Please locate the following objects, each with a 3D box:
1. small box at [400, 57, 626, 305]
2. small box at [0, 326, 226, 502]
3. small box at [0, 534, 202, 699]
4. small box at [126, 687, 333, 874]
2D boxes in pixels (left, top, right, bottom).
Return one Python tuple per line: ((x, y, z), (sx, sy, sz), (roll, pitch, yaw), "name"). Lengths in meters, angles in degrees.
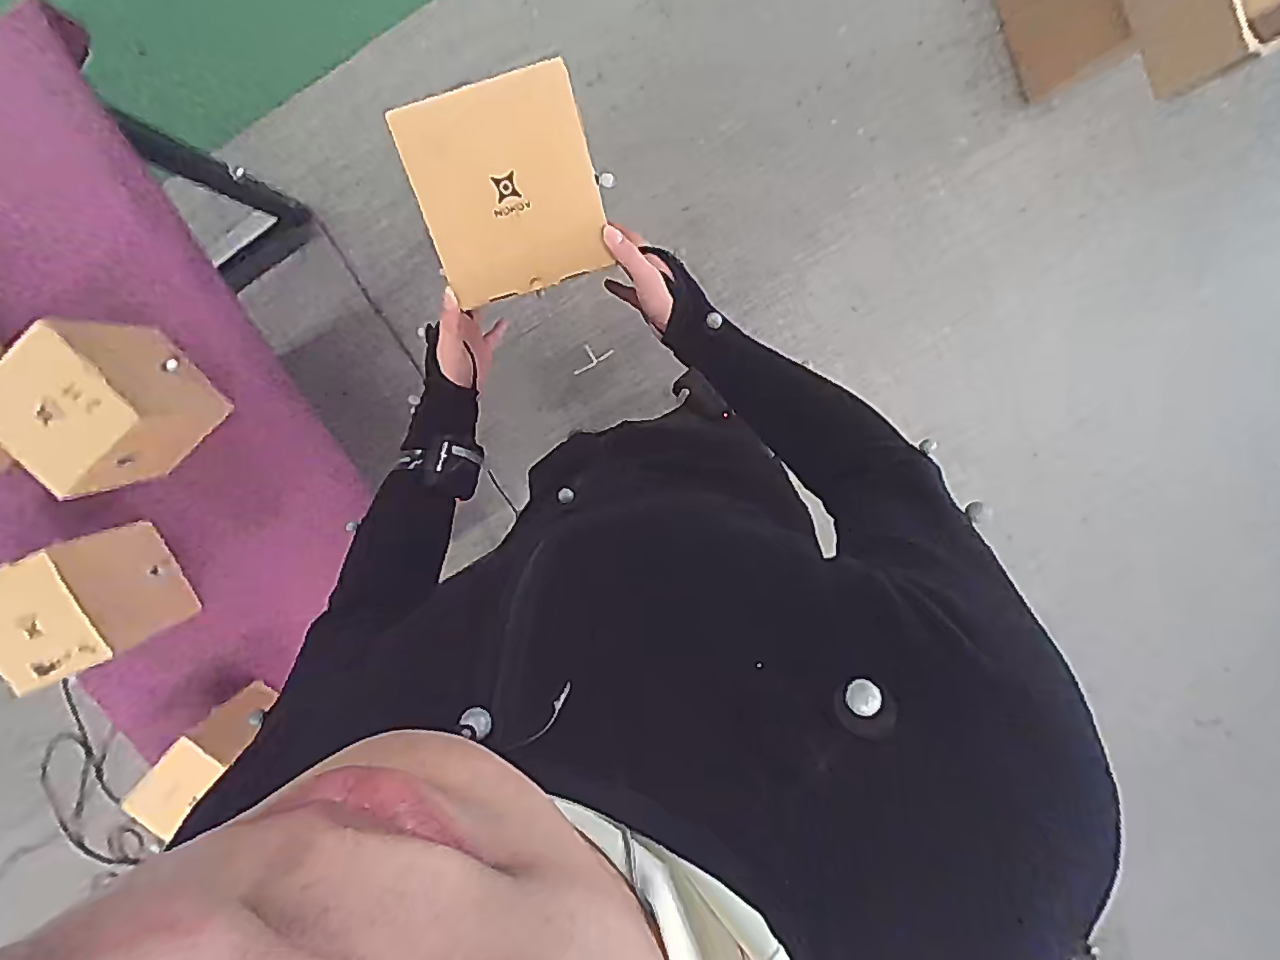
((-0.118, -0.299, 0.573), (0.168, 0.176, 0.179), (-15, 114, 3), "small box")
((-0.766, -0.098, 0.784), (0.179, 0.176, 0.168), (-39, 99, 8), "small box")
((-0.853, 0.197, 0.842), (0.168, 0.176, 0.179), (-23, 100, 4), "small box")
((-0.661, 0.485, 0.897), (0.179, 0.176, 0.168), (43, 96, -7), "small box")
